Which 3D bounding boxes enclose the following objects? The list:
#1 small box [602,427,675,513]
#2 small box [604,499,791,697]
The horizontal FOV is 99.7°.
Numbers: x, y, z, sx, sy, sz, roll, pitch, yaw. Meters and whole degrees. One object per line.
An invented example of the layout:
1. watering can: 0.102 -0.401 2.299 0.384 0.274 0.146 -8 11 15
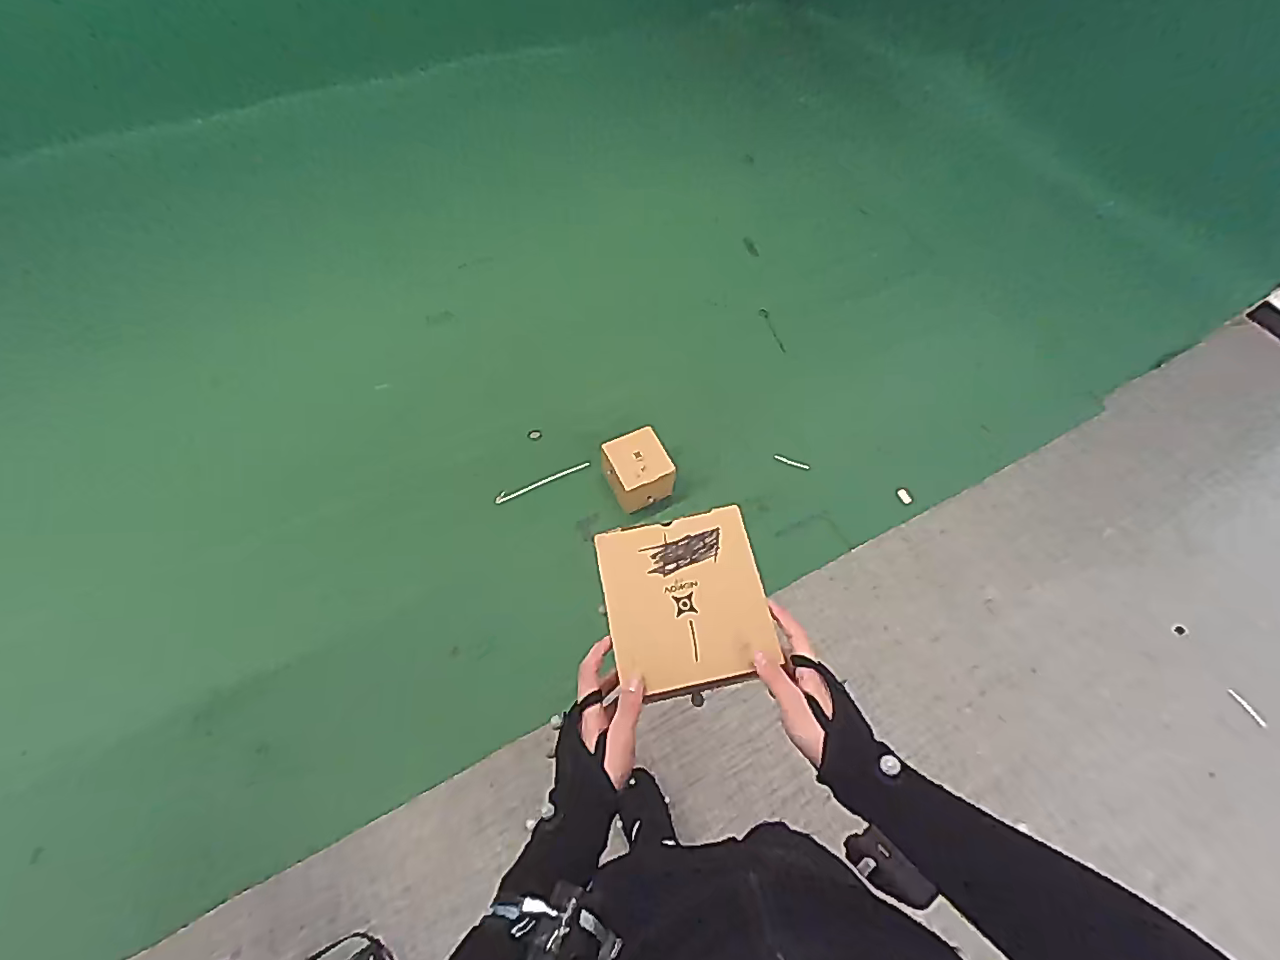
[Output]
1. small box: -0.010 -0.027 1.669 0.168 0.176 0.179 -23 66 -15
2. small box: 0.057 0.145 0.633 0.168 0.176 0.179 -12 66 -2
